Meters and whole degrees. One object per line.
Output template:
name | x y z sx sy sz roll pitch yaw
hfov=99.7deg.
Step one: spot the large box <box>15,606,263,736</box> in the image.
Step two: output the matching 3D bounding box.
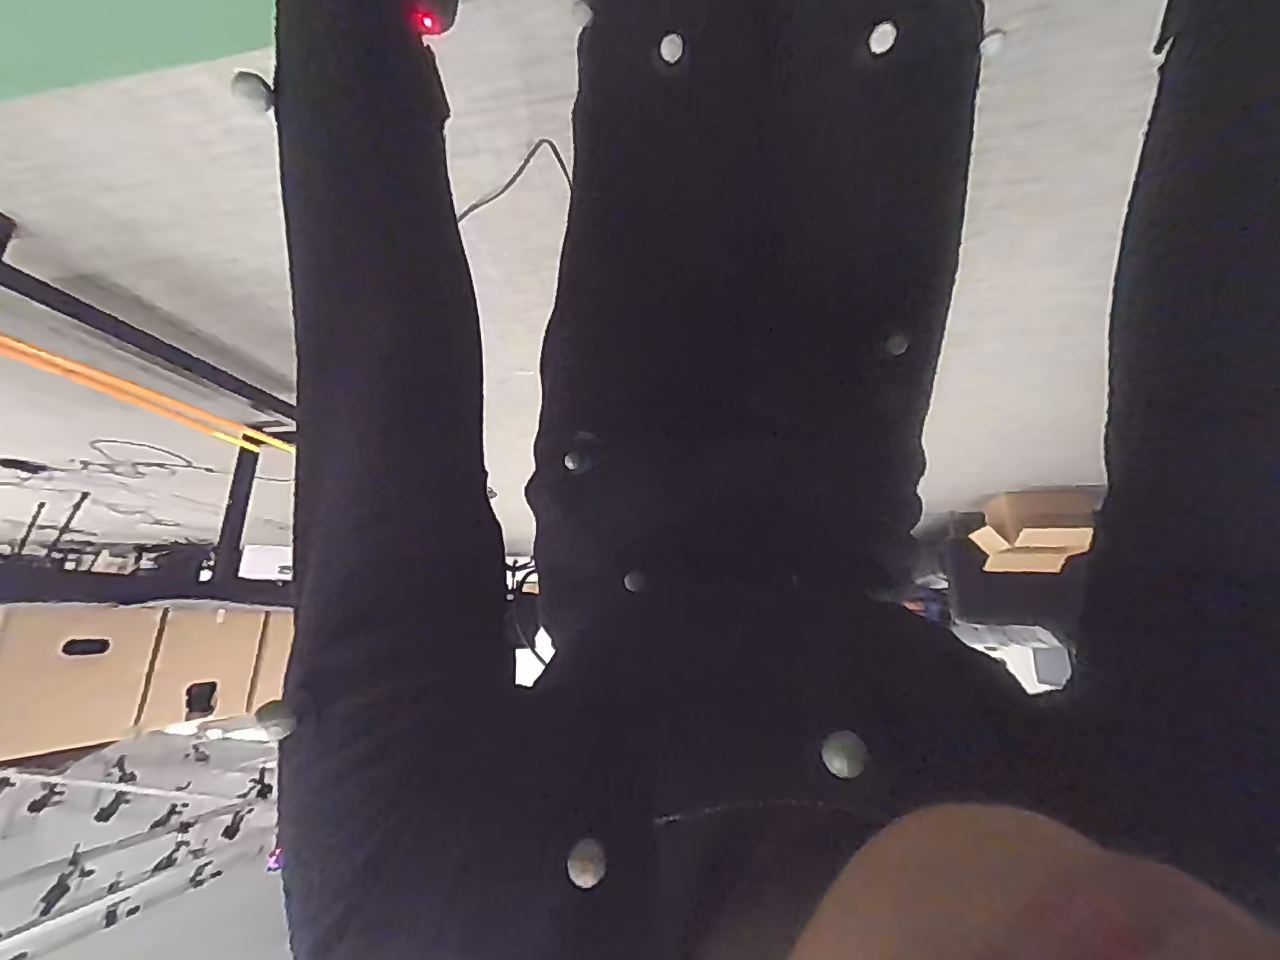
large box | -1.386 0.525 1.528 0.408 0.320 0.320 -3 164 12
